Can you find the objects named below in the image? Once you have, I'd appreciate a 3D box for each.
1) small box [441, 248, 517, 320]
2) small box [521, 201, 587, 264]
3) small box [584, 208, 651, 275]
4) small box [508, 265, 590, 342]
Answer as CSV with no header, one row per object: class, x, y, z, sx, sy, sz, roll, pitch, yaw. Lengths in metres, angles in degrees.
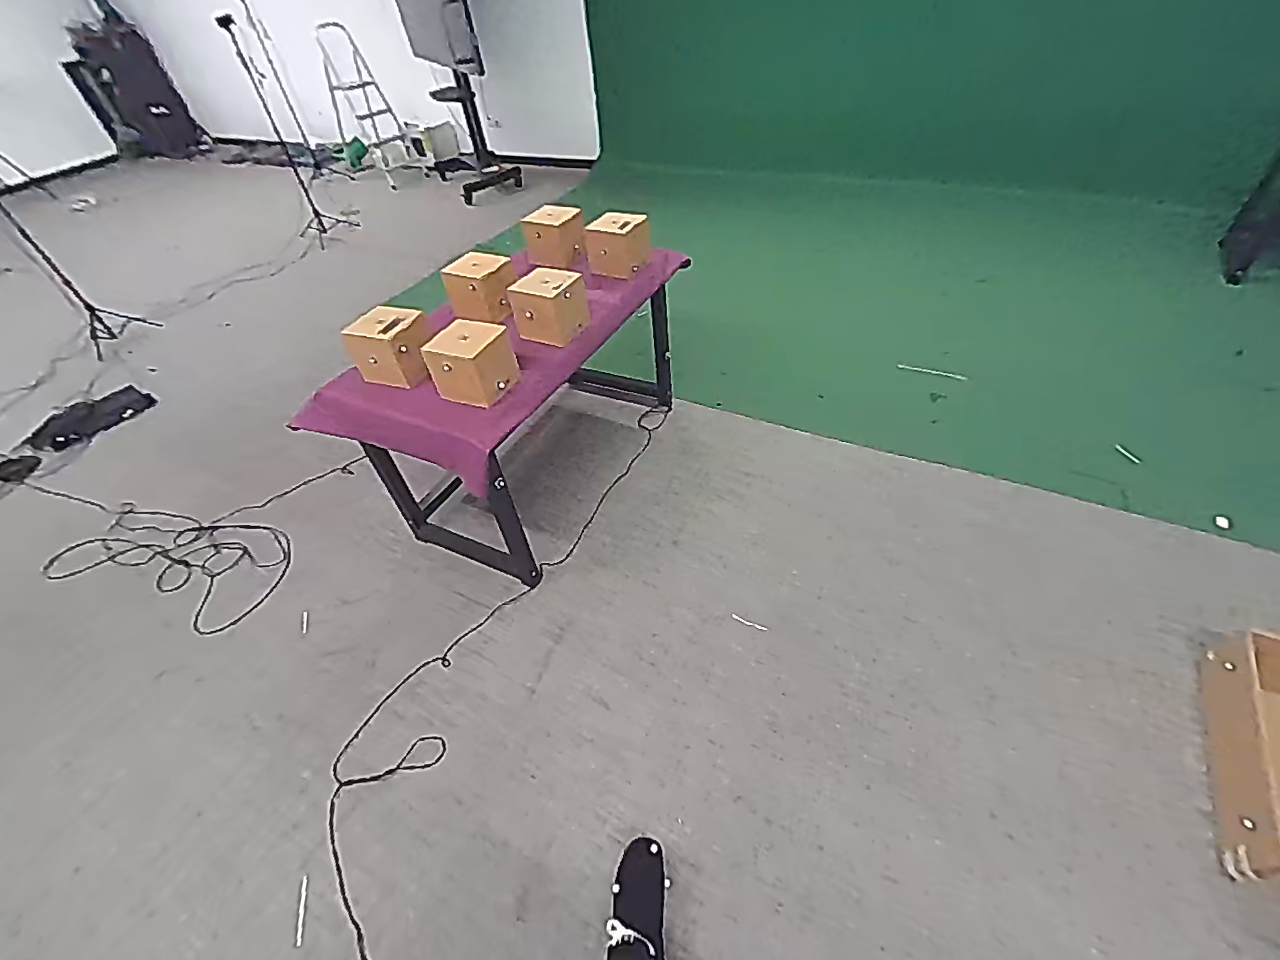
small box,-0.536,-0.665,1.838,0.179,0.176,0.168,18,50,21
small box,-0.329,-0.957,2.095,0.179,0.176,0.168,19,52,22
small box,-0.076,-0.870,1.980,0.179,0.176,0.168,20,52,26
small box,-0.280,-0.553,1.696,0.179,0.176,0.168,18,51,25
